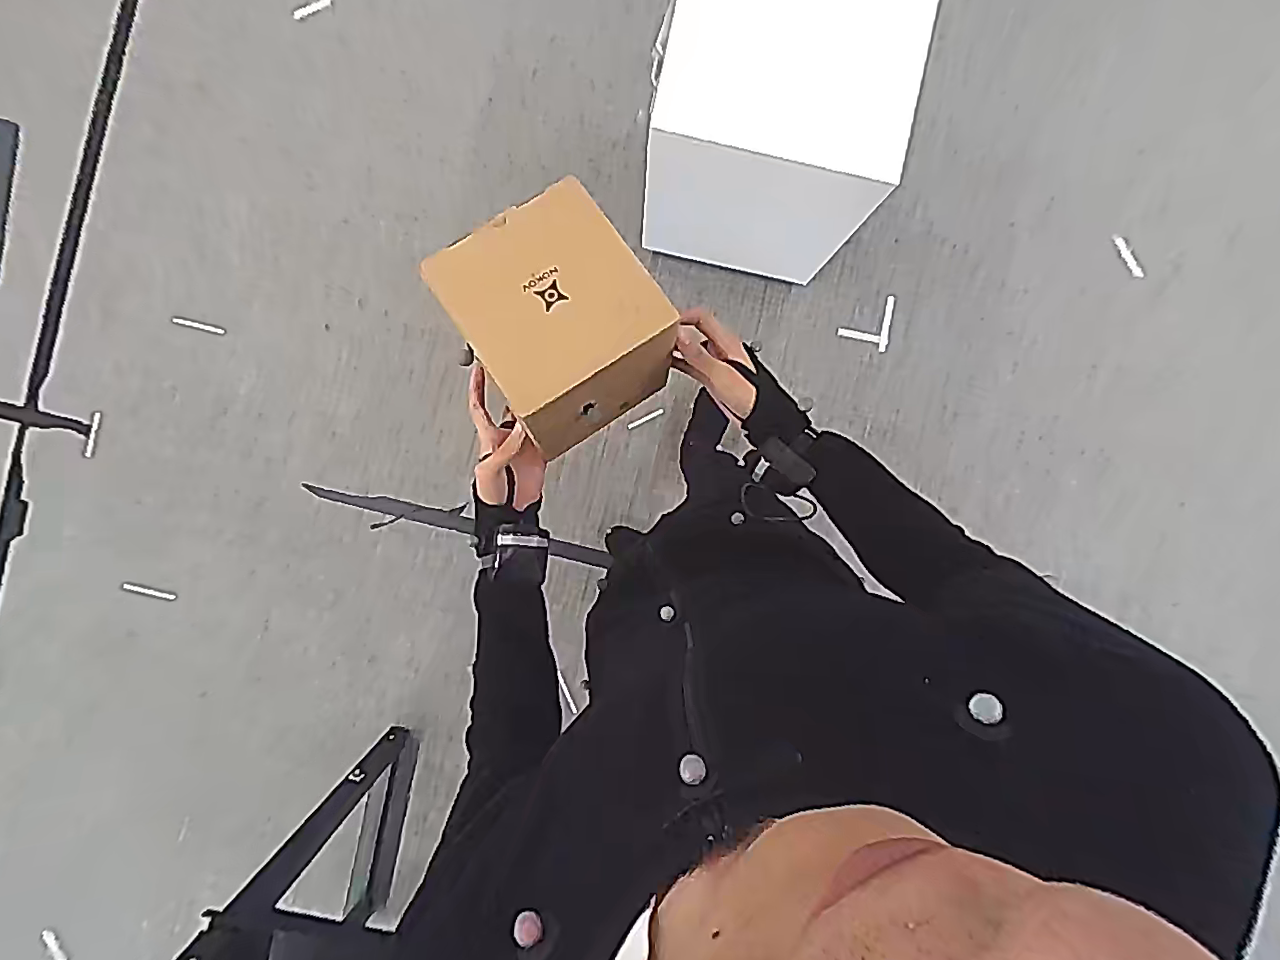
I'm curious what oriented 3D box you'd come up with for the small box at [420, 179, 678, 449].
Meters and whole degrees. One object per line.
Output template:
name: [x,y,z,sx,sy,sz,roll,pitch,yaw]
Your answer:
small box: [-0.080,-0.147,0.549,0.168,0.176,0.179,-34,81,-7]
